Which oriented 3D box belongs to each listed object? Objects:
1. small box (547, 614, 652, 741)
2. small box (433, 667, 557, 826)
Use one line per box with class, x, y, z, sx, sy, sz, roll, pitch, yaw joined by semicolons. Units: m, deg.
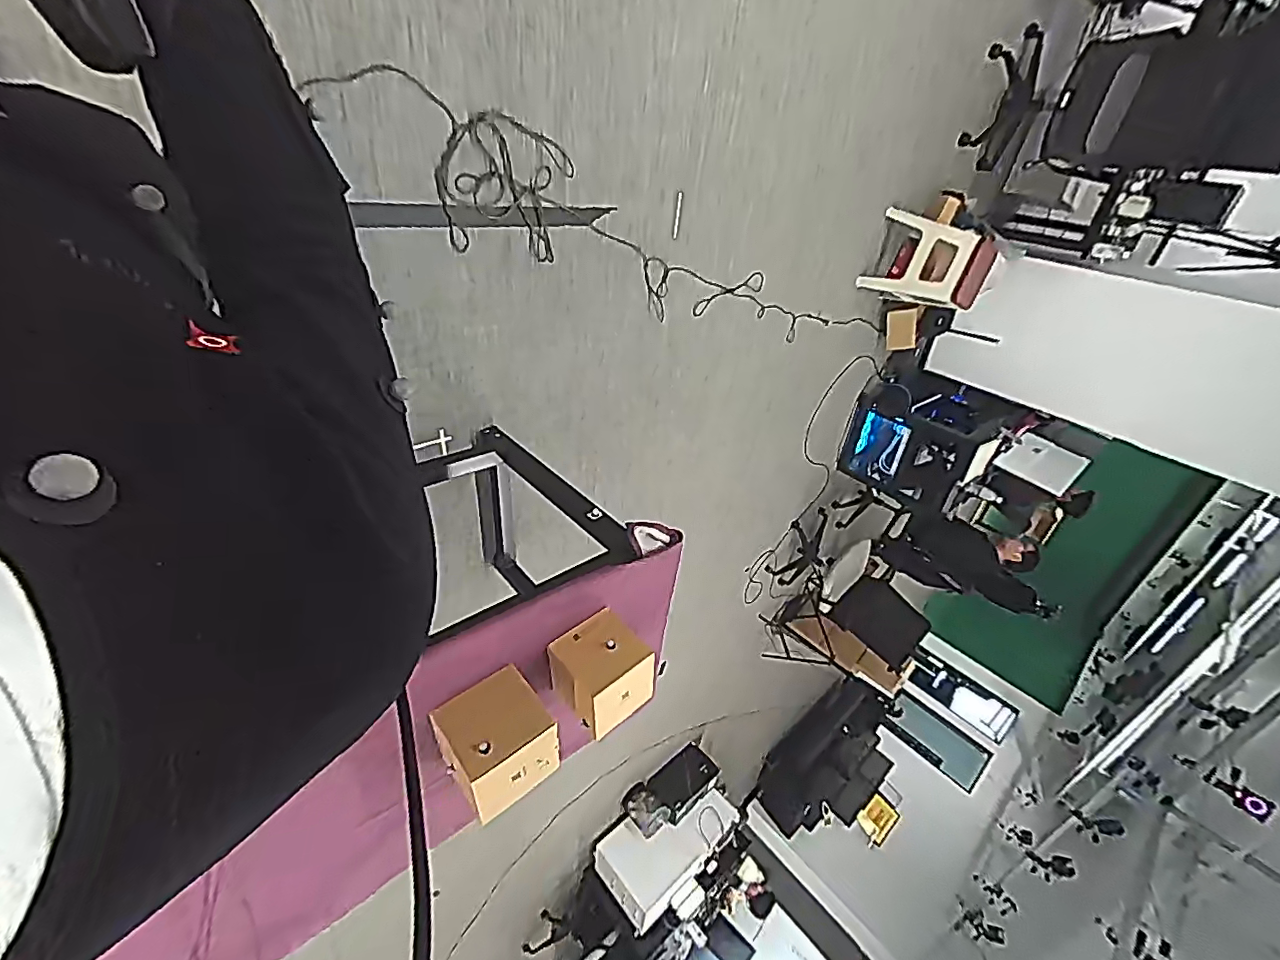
small box;-0.091;0.422;1.192;0.168;0.176;0.179;-28;136;-32
small box;-0.279;0.502;1.038;0.179;0.176;0.168;-25;135;-34
